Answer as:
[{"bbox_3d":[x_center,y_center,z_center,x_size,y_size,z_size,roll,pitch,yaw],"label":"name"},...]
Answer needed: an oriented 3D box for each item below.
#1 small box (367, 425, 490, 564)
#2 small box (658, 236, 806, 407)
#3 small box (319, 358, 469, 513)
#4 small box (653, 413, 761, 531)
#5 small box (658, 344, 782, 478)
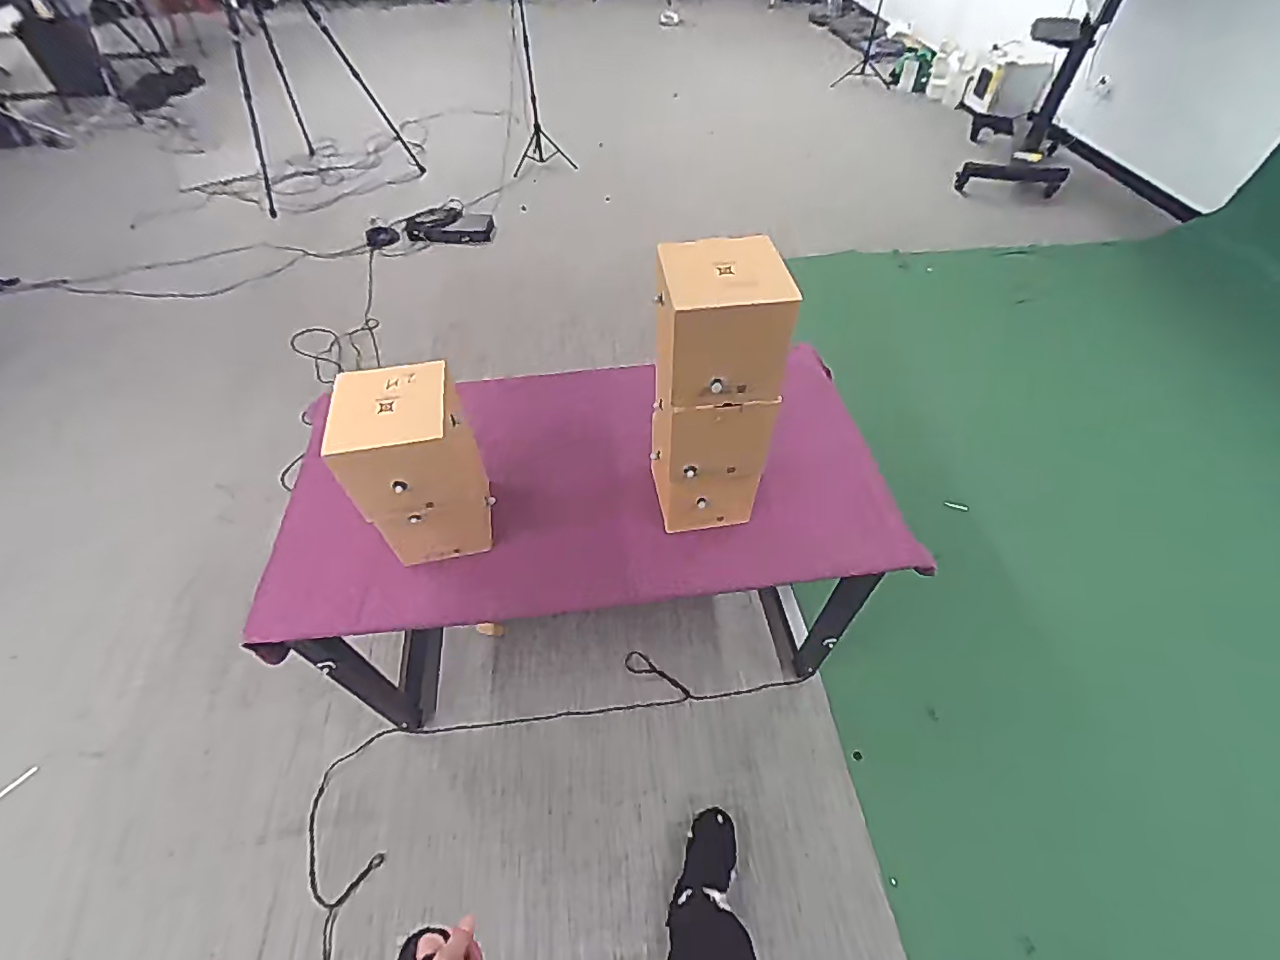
[{"bbox_3d":[-0.375,0.028,0.988,0.168,0.176,0.179,-10,51,-8],"label":"small box"},{"bbox_3d":[0.117,-0.226,0.776,0.168,0.176,0.179,-5,50,-3],"label":"small box"},{"bbox_3d":[-0.370,-0.063,0.849,0.168,0.176,0.179,-8,52,-8],"label":"small box"},{"bbox_3d":[0.119,-0.017,1.029,0.168,0.176,0.179,-7,50,-5],"label":"small box"},{"bbox_3d":[0.121,-0.117,0.897,0.168,0.176,0.179,-5,49,-4],"label":"small box"}]
